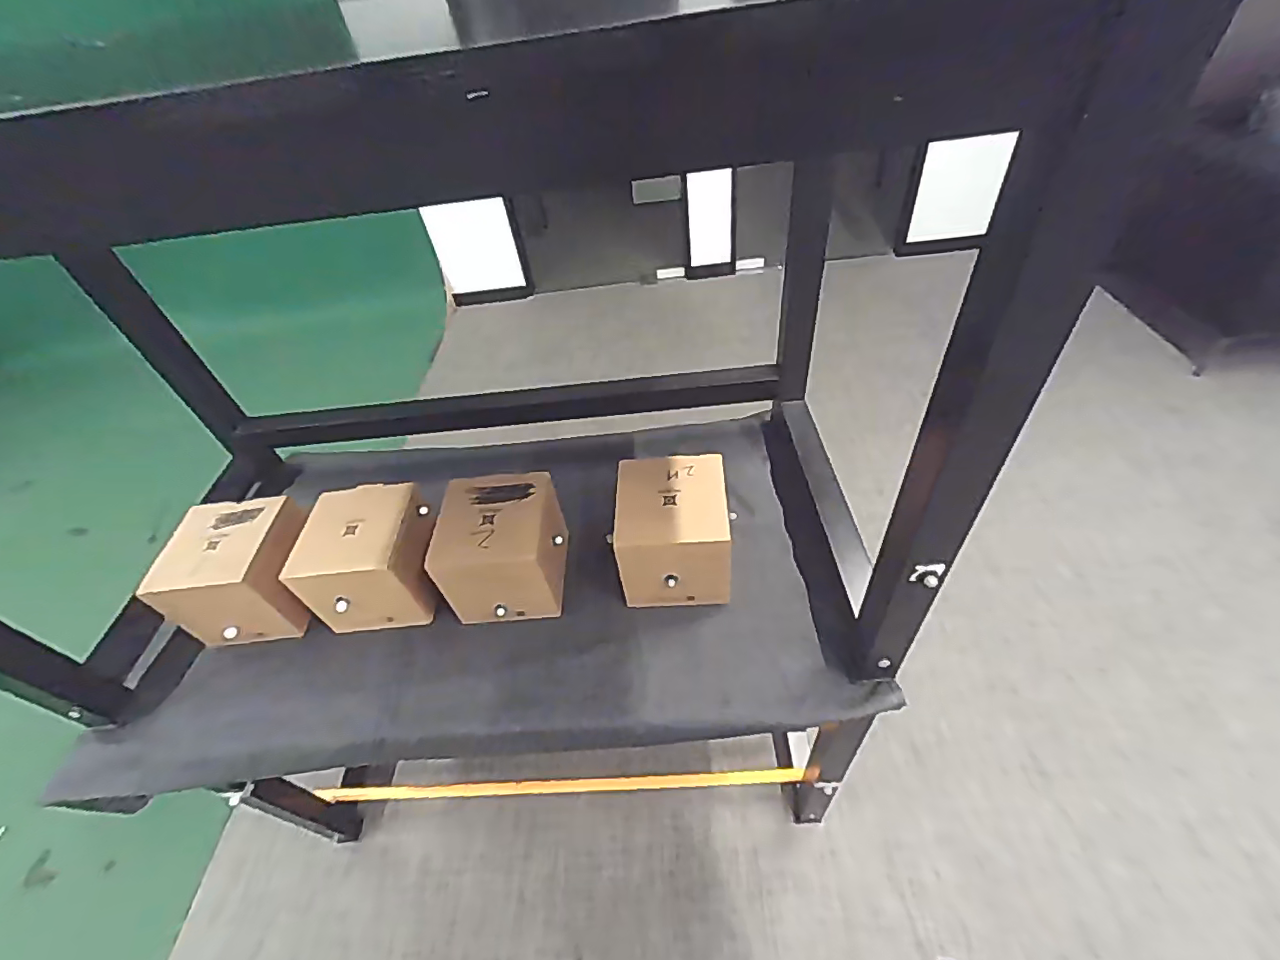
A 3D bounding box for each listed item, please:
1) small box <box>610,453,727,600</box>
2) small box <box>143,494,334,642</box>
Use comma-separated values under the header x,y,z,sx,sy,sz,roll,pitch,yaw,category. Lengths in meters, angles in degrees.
x,y,z,sx,sy,sz,roll,pitch,yaw,category
0.052,0.079,0.862,0.168,0.176,0.179,-3,46,6,small box
-0.652,0.149,0.911,0.168,0.176,0.179,-7,46,3,small box
